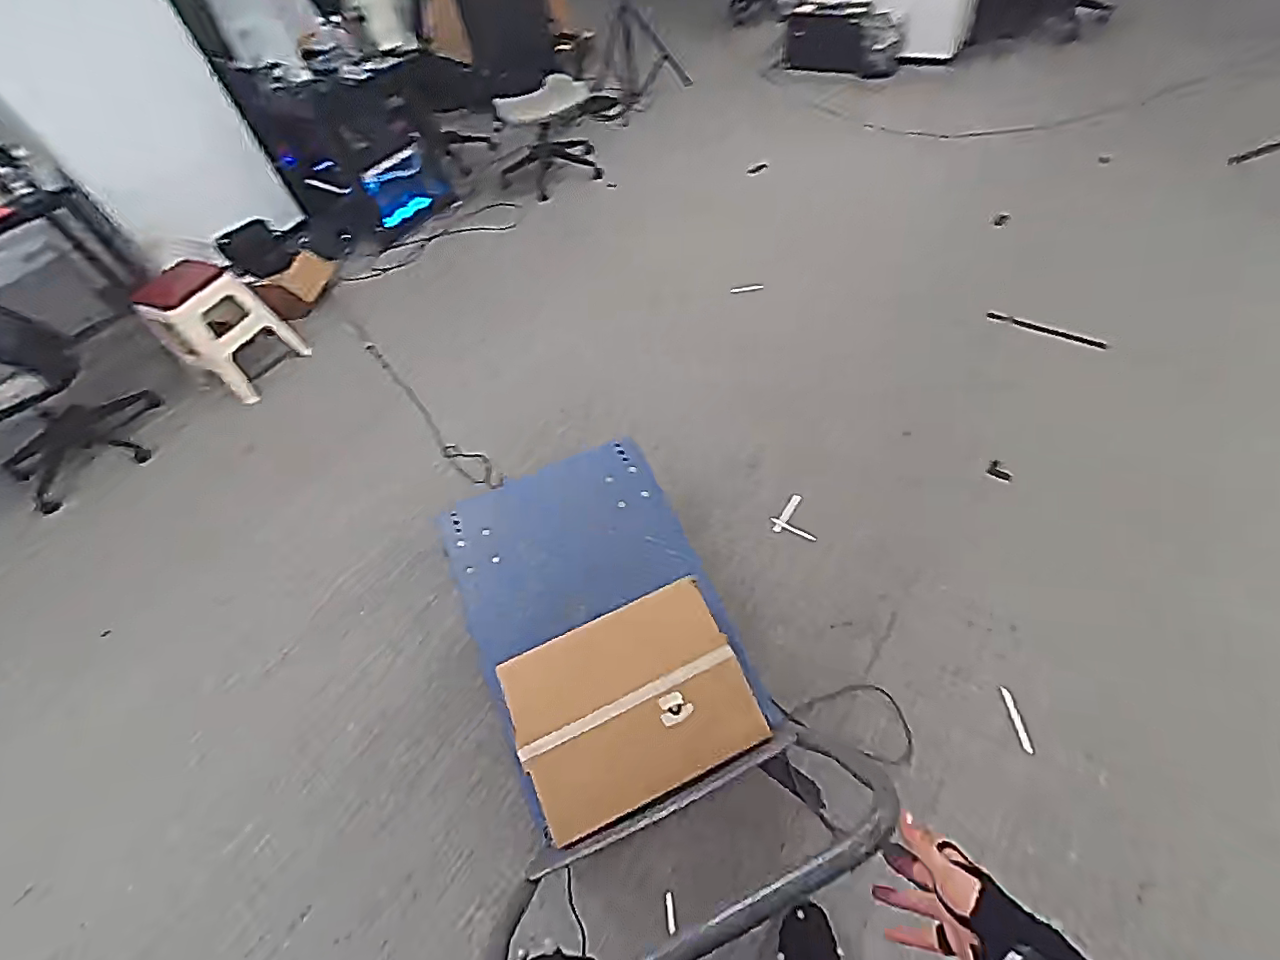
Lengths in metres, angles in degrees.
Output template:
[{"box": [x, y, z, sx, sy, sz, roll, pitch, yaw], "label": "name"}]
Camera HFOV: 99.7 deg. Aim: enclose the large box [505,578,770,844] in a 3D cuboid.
[{"box": [-0.008, 0.458, 1.105, 0.408, 0.320, 0.320, -23, 68, -9], "label": "large box"}]
